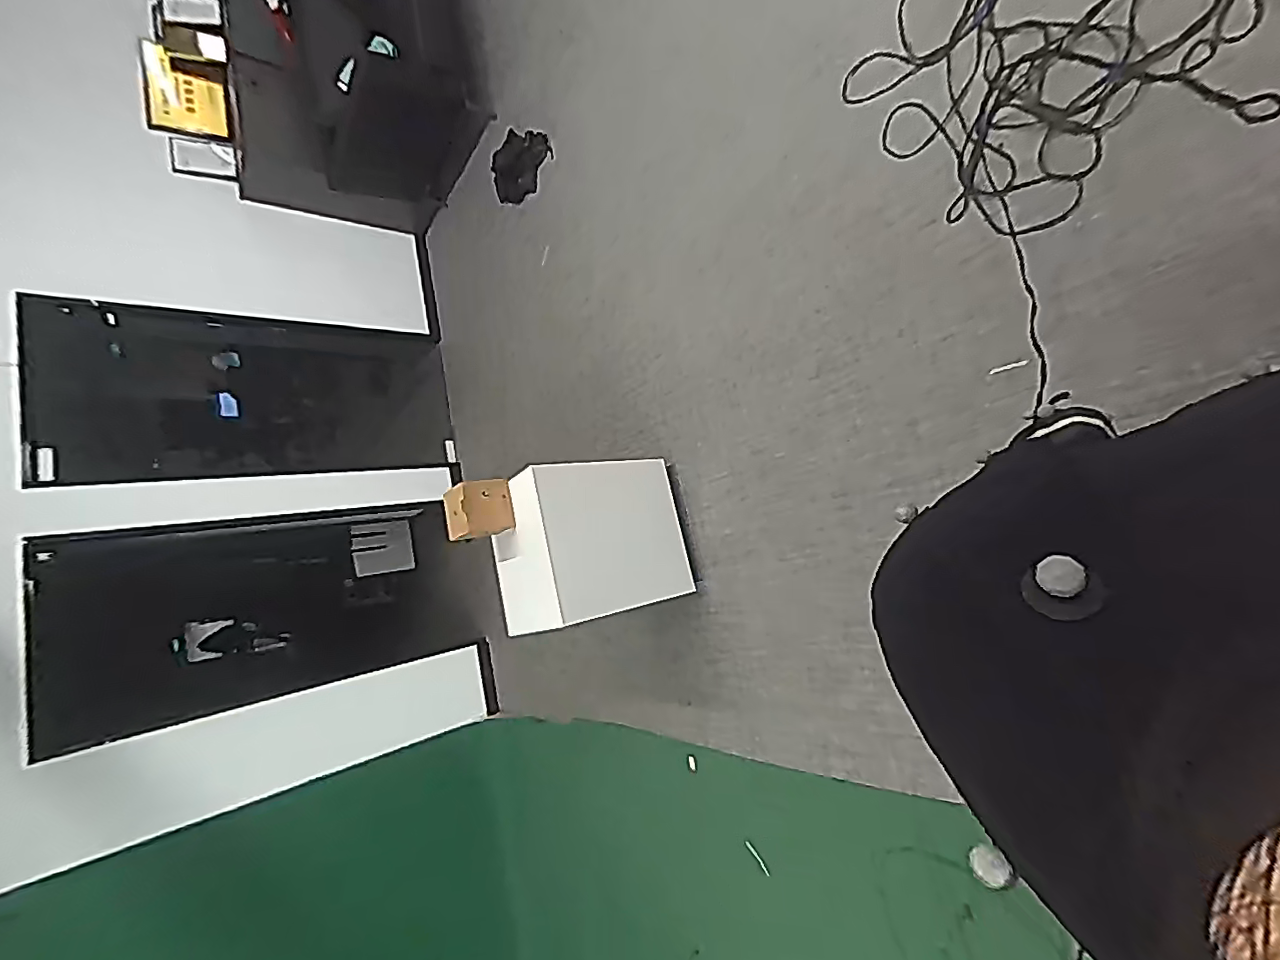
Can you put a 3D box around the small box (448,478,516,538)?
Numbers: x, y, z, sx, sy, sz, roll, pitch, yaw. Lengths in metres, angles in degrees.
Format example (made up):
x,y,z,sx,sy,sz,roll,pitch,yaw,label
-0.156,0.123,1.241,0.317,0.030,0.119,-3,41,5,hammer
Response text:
x,y,z,sx,sy,sz,roll,pitch,yaw,label
-0.527,0.092,1.822,0.179,0.176,0.168,-23,75,50,small box
